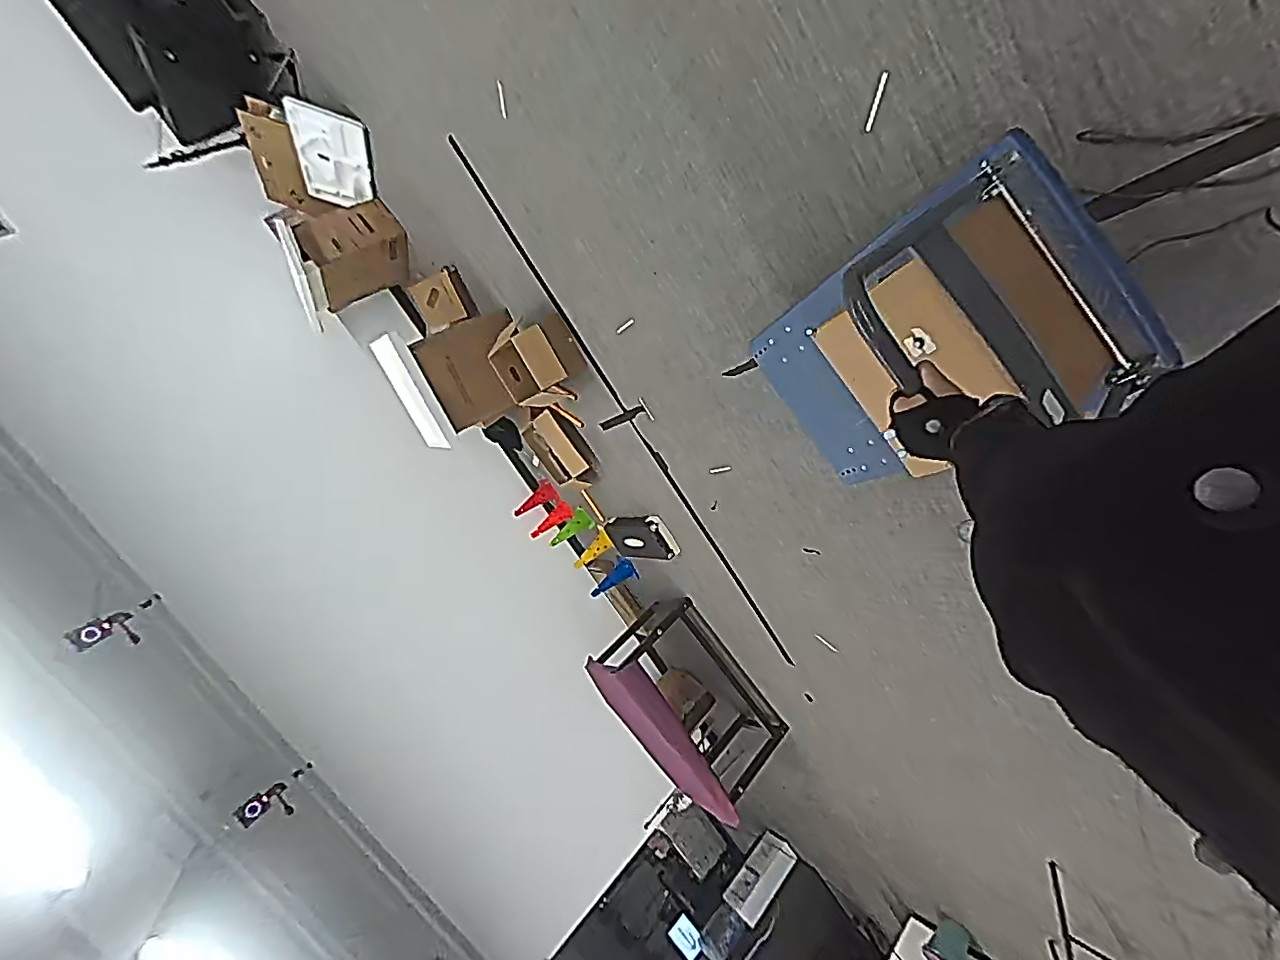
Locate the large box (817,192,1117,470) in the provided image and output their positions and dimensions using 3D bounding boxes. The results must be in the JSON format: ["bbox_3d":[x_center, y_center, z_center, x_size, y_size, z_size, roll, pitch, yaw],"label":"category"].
[{"bbox_3d":[0.670,-0.294,1.131,0.408,0.320,0.320,53,152,-2],"label":"large box"}]
